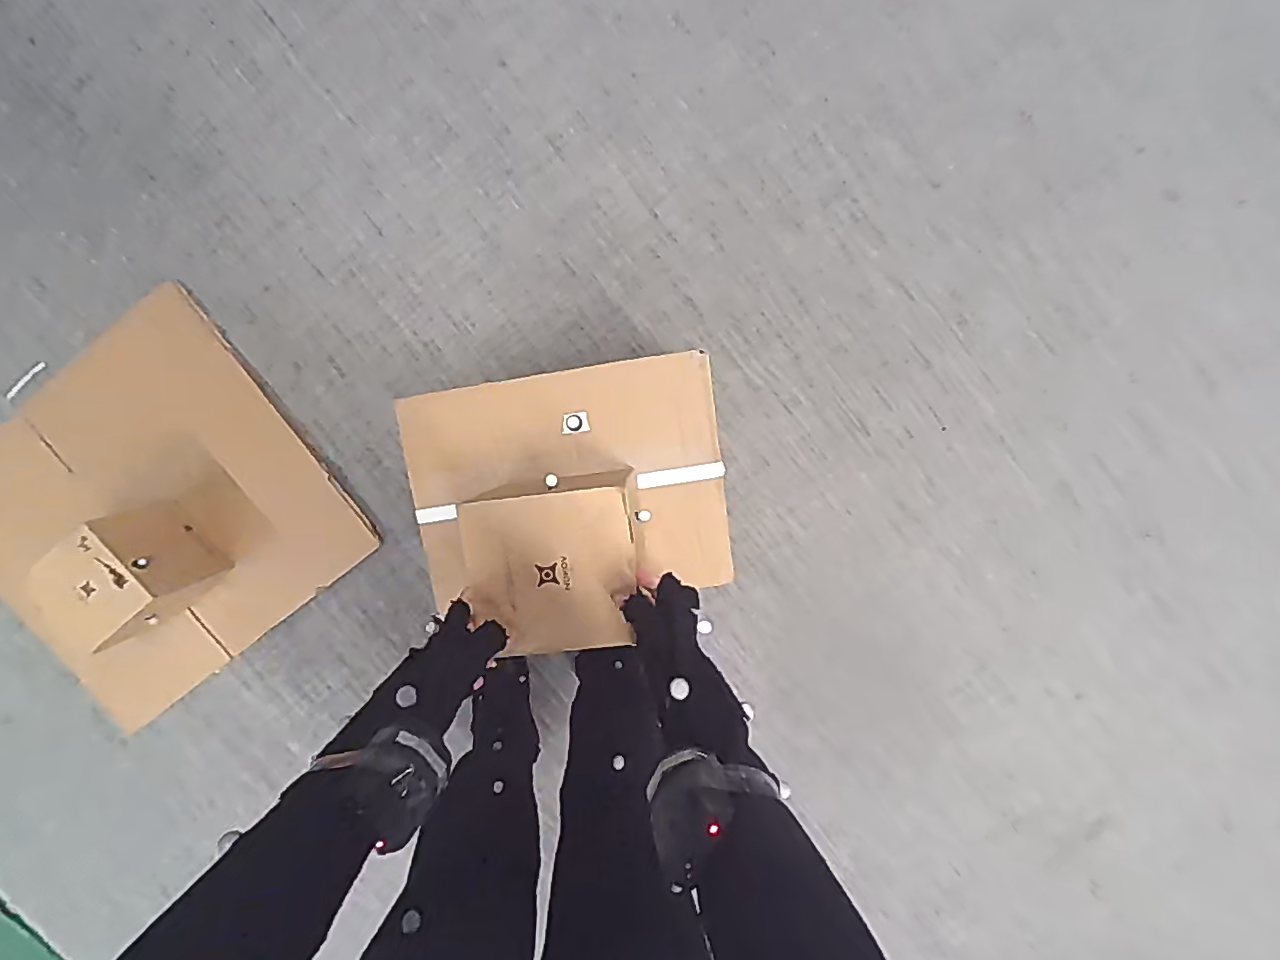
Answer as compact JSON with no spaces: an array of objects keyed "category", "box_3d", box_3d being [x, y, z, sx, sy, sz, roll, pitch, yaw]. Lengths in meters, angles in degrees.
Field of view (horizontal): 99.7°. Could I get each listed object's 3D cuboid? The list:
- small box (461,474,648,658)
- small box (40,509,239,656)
[{"category":"small box","box_3d":[-0.085,0.089,0.637,0.179,0.176,0.168,-7,96,5]},{"category":"small box","box_3d":[-0.892,0.177,0.981,0.179,0.176,0.168,-41,93,8]}]
